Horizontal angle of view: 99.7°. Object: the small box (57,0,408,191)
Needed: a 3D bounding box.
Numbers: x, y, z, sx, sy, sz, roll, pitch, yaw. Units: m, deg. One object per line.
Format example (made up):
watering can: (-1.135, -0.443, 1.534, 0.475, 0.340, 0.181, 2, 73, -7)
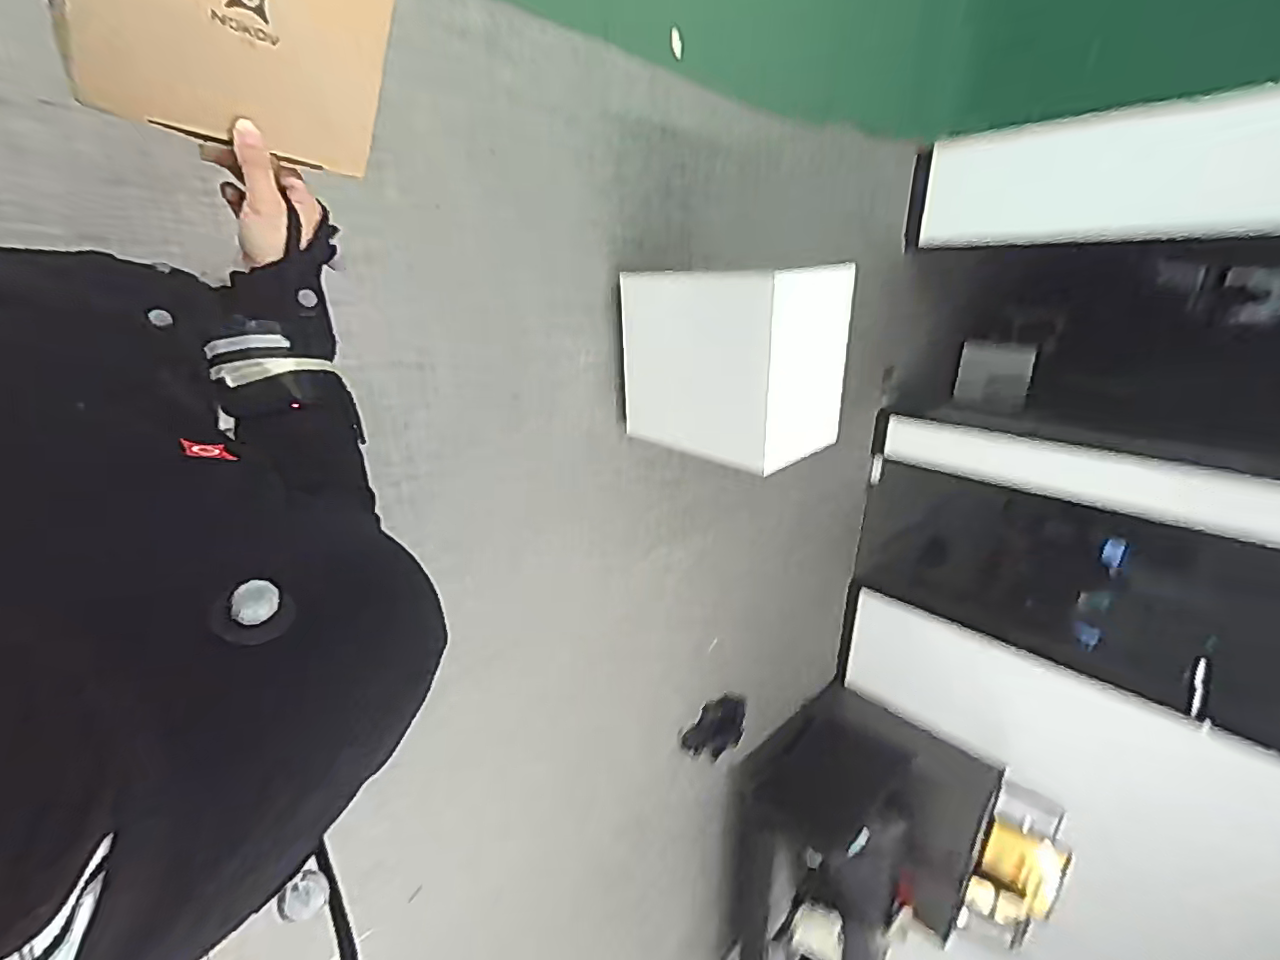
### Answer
small box: (-0.285, -0.344, 0.375, 0.168, 0.176, 0.179, -10, 138, -48)
